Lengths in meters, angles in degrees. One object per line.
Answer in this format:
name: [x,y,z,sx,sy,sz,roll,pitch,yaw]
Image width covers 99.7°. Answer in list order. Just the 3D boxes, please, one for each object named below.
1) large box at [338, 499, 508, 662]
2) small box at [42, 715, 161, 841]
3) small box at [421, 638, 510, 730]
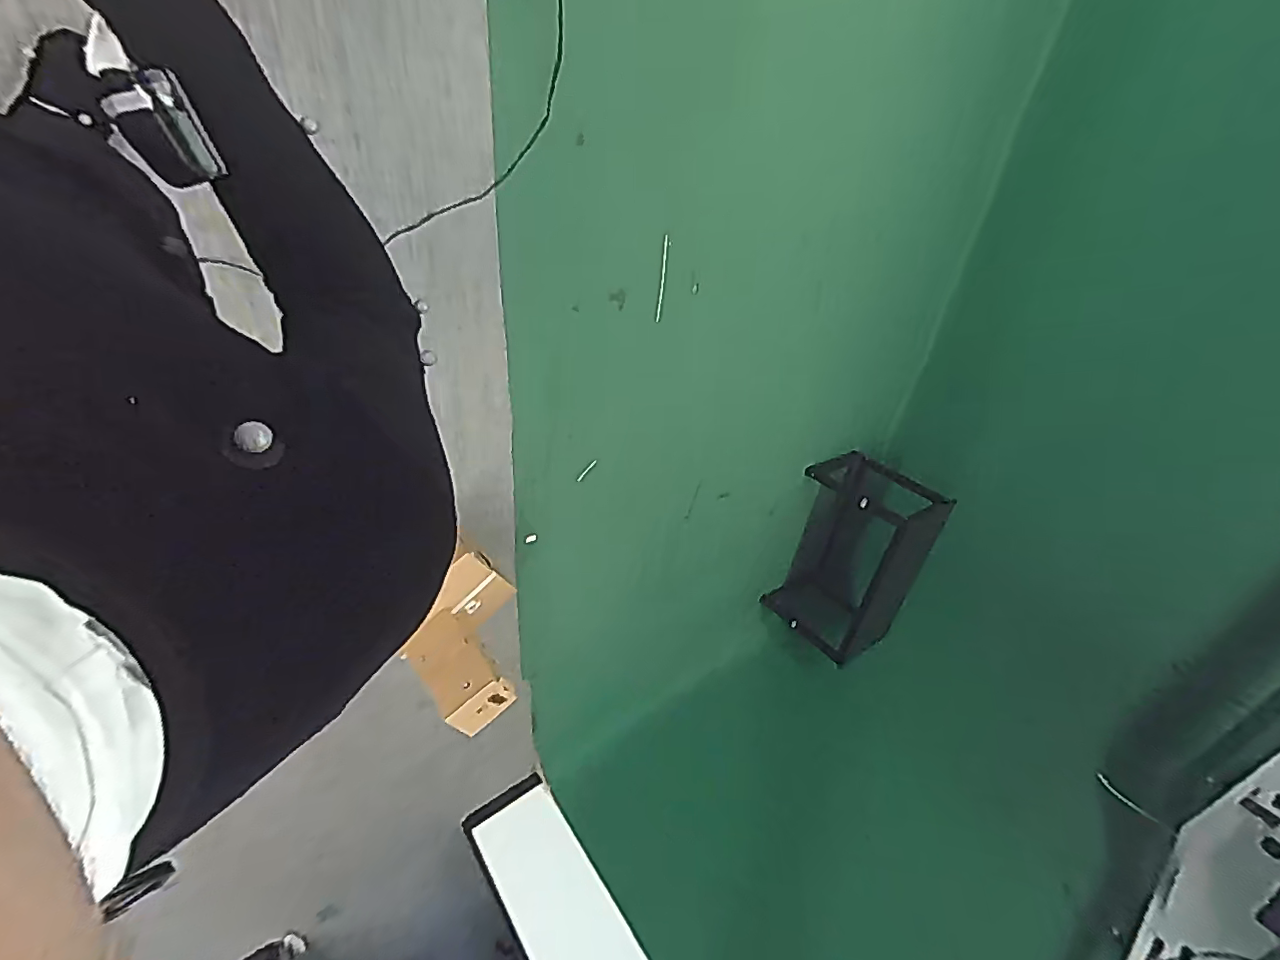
large box: [-0.756,0.349,1.899,0.408,0.320,0.320,-44,142,-10]
small box: [-1.259,0.685,1.272,0.168,0.176,0.179,-14,127,-37]
small box: [-0.540,0.624,1.668,0.179,0.176,0.168,-39,140,-15]
